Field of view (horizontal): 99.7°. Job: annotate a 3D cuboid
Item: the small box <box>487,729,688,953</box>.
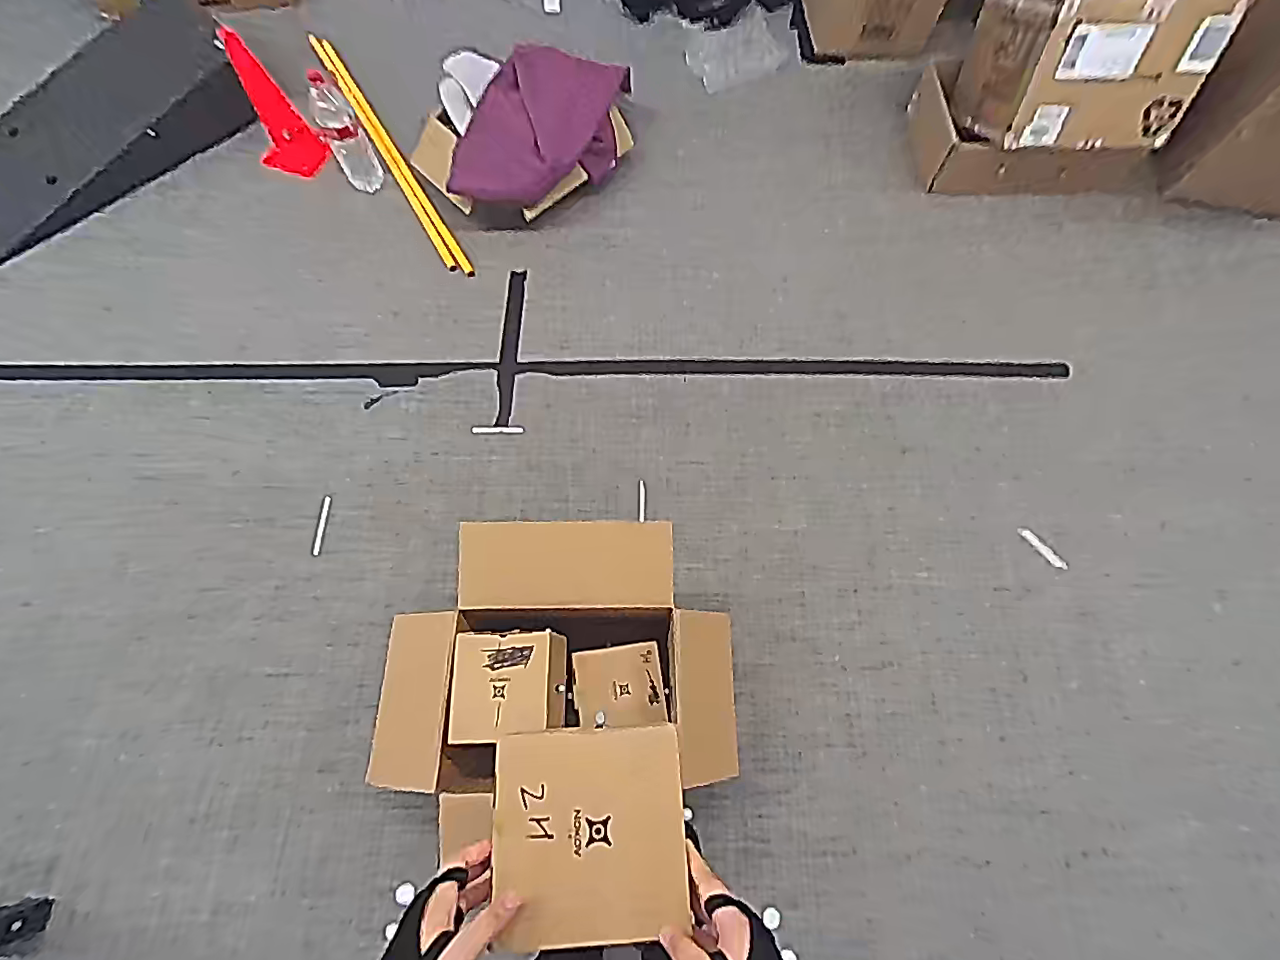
[{"bbox_3d":[-0.051,0.359,0.570,0.179,0.176,0.168,-2,66,-2],"label":"small box"}]
